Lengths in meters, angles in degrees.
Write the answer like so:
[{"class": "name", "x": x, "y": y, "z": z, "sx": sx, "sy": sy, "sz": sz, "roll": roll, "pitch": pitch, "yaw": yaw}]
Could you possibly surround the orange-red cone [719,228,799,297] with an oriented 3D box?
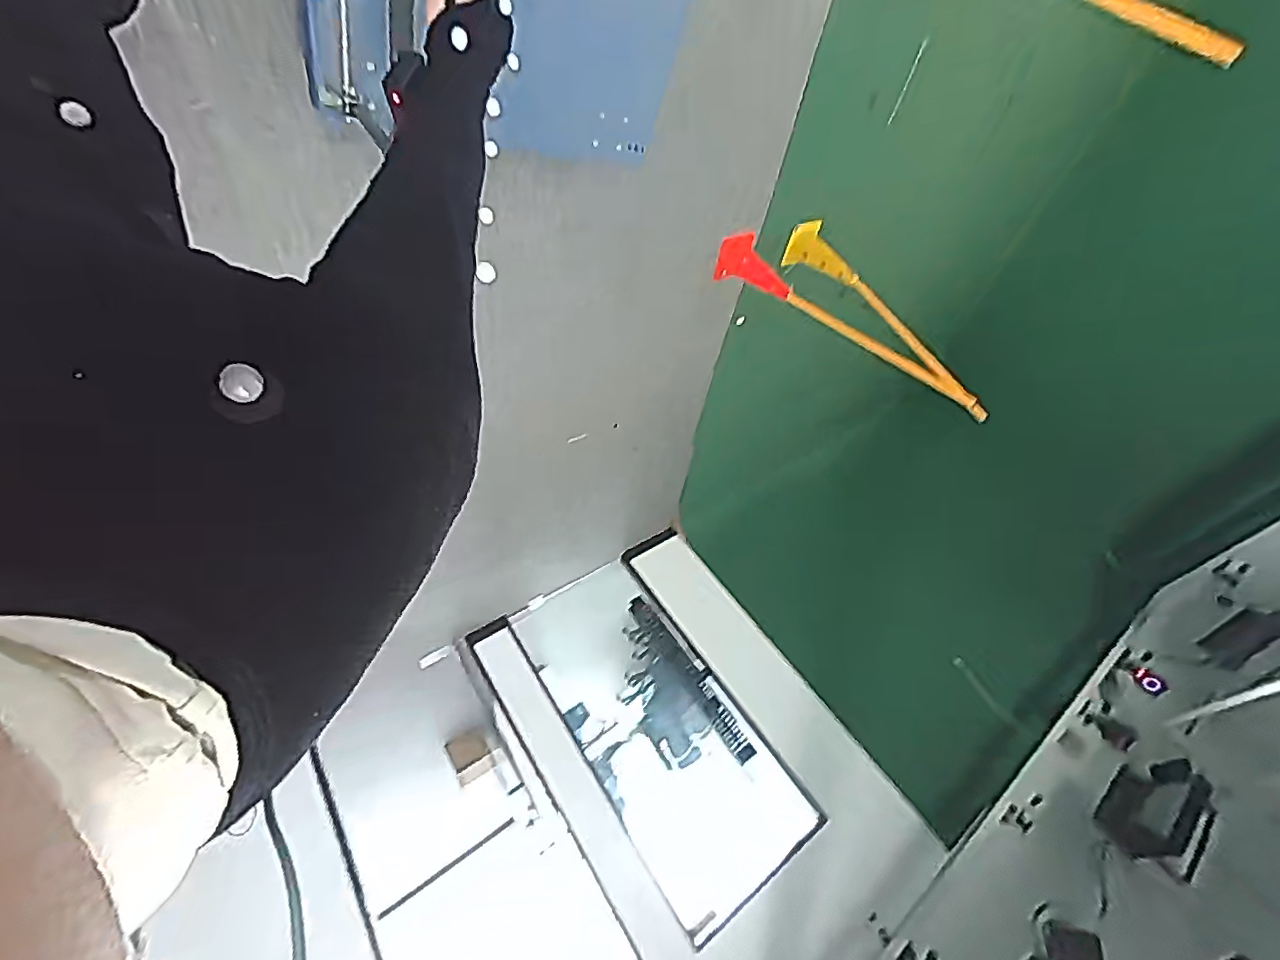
[{"class": "orange-red cone", "x": 0.541, "y": -0.893, "z": 2.311, "sx": 0.199, "sy": 0.360, "sz": 0.198, "roll": -26, "pitch": 150, "yaw": -29}]
